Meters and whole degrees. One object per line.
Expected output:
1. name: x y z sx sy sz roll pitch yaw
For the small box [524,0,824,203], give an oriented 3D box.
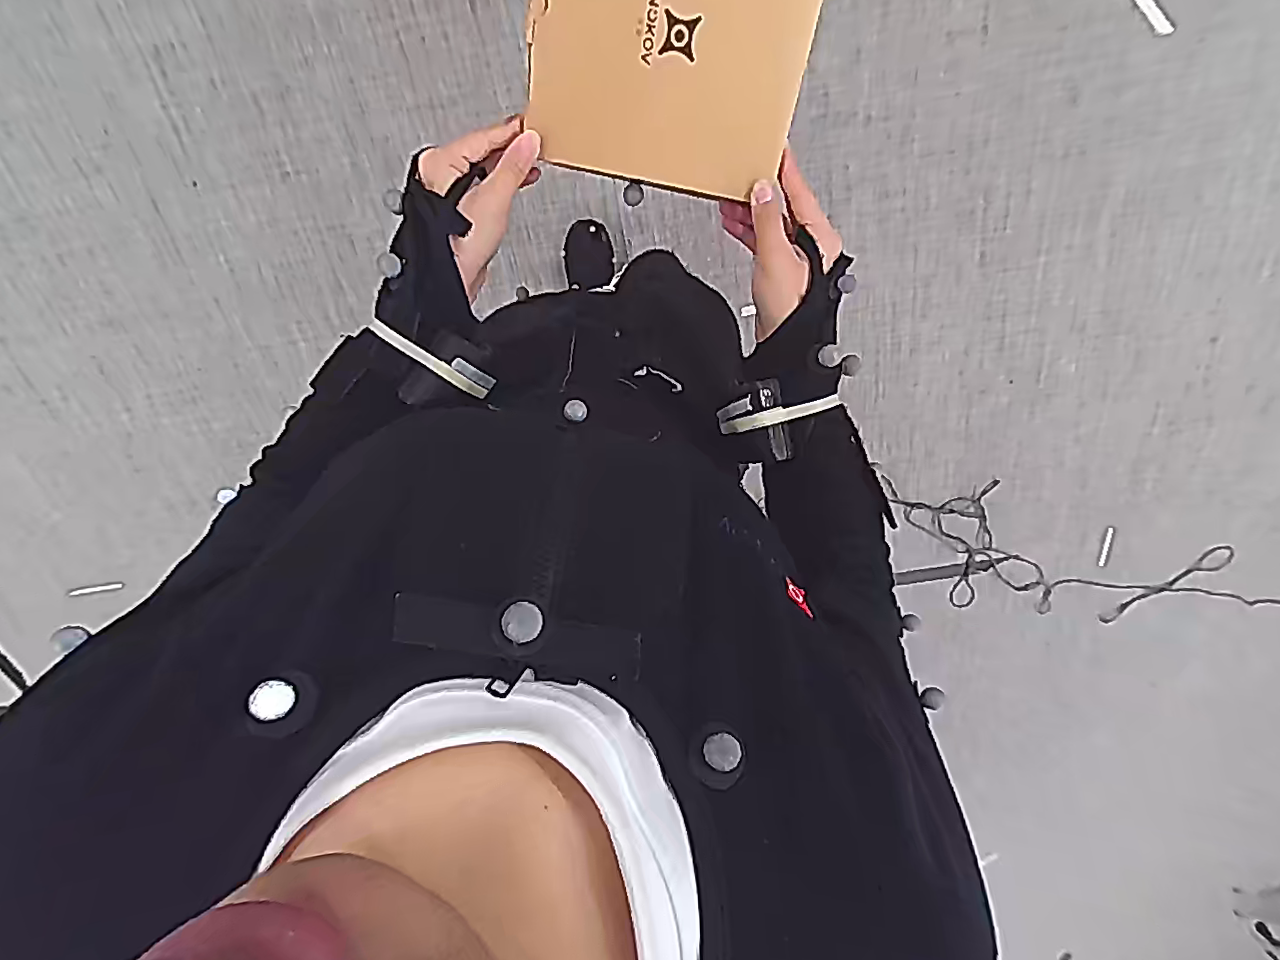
1. small box: 0.020 -0.317 0.403 0.179 0.176 0.168 9 118 -5
